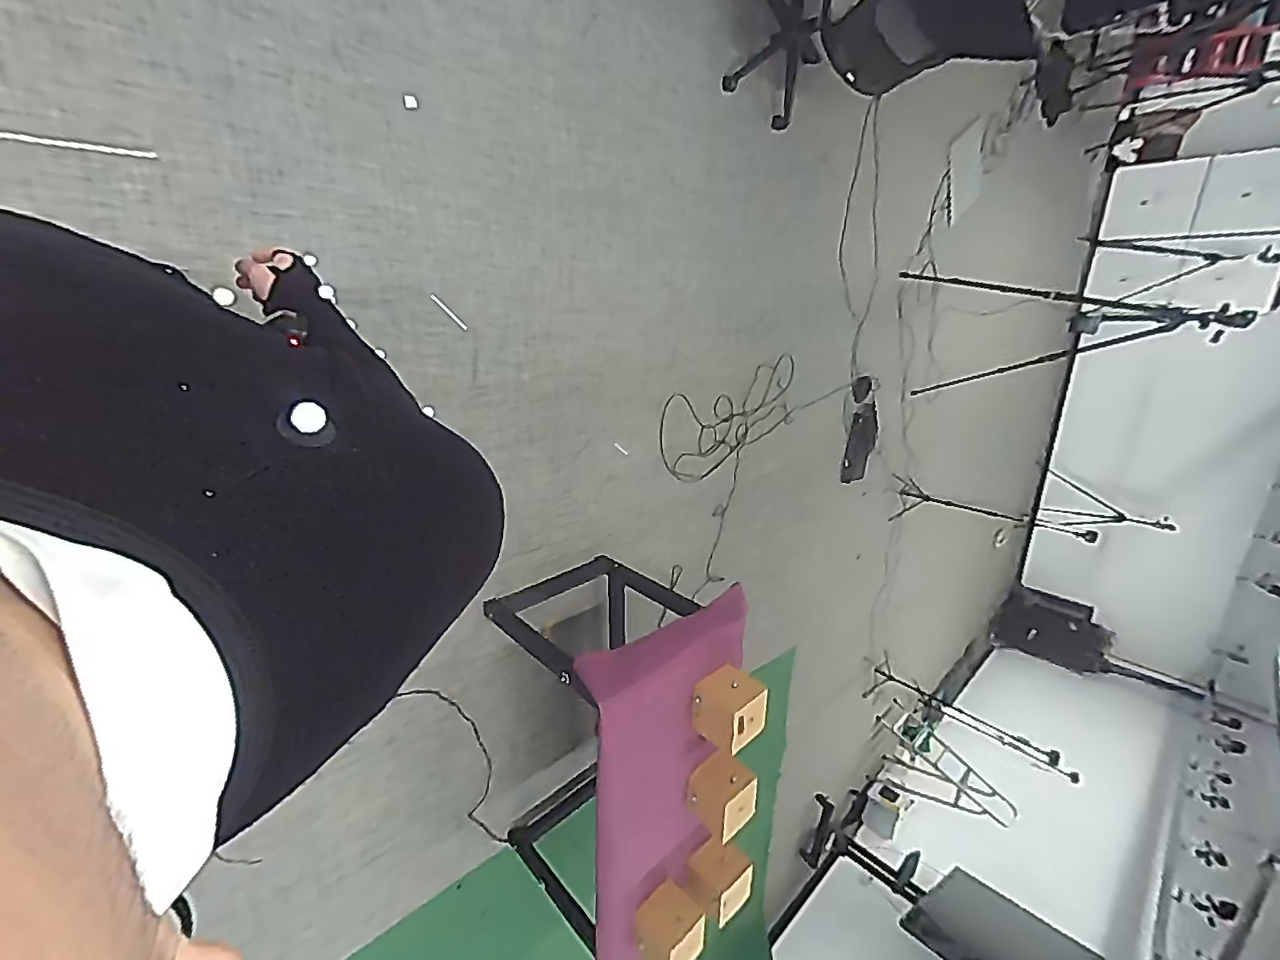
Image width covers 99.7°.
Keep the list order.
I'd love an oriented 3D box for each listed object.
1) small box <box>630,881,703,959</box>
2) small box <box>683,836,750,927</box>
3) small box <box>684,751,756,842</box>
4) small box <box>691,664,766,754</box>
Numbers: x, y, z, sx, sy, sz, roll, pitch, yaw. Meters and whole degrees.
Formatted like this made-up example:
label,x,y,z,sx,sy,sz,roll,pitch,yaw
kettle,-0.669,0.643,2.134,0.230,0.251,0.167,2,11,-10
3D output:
label,x,y,z,sx,sy,sz,roll,pitch,yaw
small box,0.089,1.501,1.803,0.179,0.176,0.168,-14,112,-43
small box,0.279,1.453,1.978,0.179,0.176,0.168,-15,113,-40
small box,0.273,1.071,1.850,0.179,0.176,0.168,-14,112,-40
small box,0.281,0.730,1.742,0.179,0.176,0.168,-16,115,-41
